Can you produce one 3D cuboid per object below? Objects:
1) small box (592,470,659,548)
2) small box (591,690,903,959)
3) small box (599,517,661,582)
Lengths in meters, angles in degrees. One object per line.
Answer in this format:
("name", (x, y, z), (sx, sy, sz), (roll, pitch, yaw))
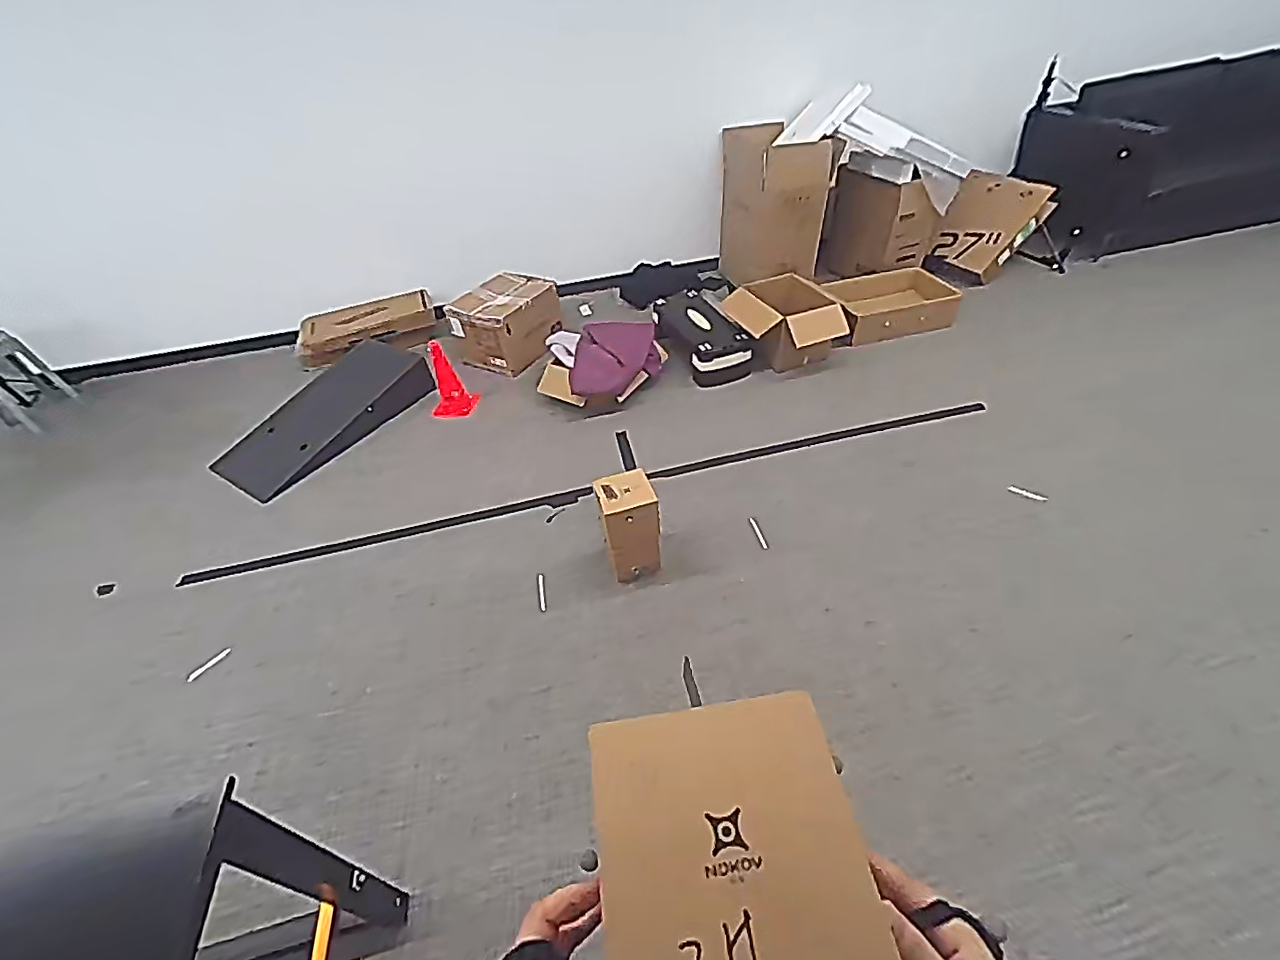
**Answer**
("small box", (-0.045, 0.098, 1.767), (0.179, 0.176, 0.168), (-15, 44, -10))
("small box", (0.060, 0.280, 0.395), (0.168, 0.176, 0.179), (-9, 49, -3))
("small box", (-0.035, 0.221, 1.877), (0.168, 0.176, 0.179), (-18, 45, -10))
